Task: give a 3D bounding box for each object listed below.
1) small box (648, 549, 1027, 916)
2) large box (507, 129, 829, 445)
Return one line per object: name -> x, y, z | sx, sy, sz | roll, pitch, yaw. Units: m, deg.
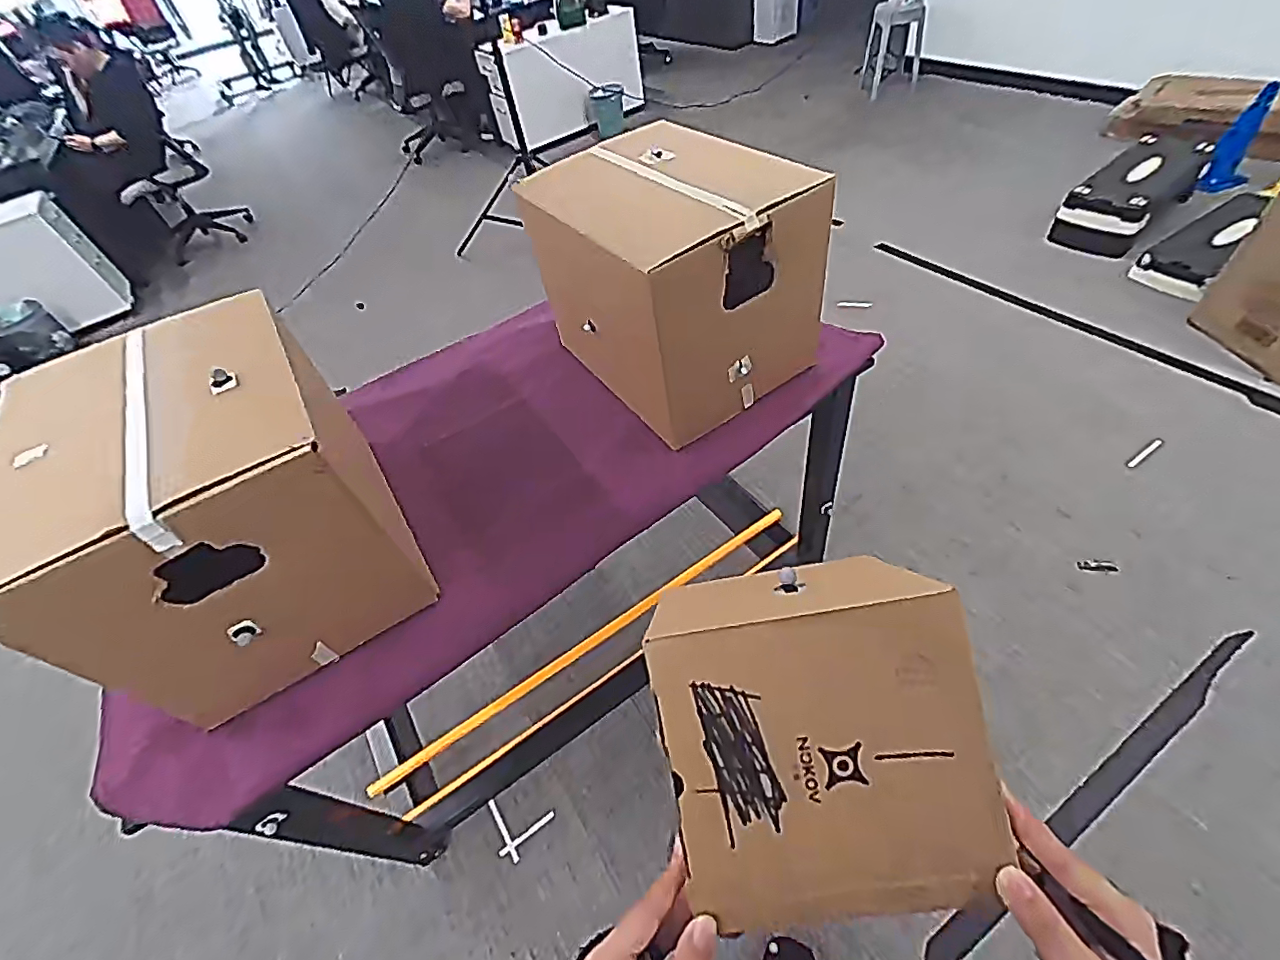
small box -> 0.111, 0.147, 0.372 | 0.179, 0.176, 0.168 | -11, 87, 5
large box -> 0.045, -0.331, 0.900 | 0.320, 0.320, 0.408 | -32, 51, -16
